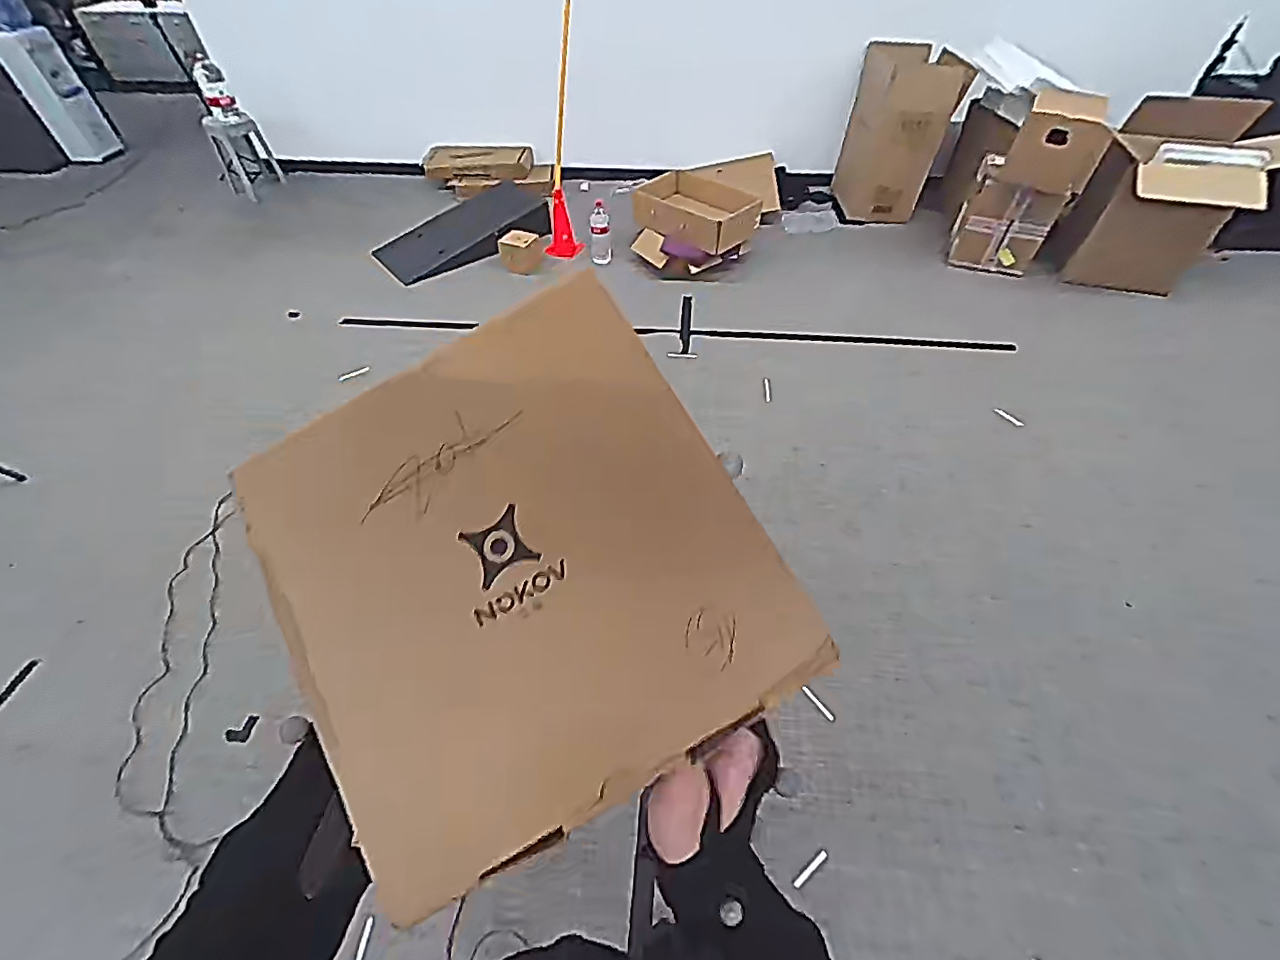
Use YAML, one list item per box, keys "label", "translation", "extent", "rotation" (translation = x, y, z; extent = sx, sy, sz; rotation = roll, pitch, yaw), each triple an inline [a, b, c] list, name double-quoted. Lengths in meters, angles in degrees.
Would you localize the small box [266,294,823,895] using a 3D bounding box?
- label: "small box"
  translation: [-0.037, 0.050, 0.283]
  extent: [0.168, 0.176, 0.179]
  rotation: [-31, 73, -3]
